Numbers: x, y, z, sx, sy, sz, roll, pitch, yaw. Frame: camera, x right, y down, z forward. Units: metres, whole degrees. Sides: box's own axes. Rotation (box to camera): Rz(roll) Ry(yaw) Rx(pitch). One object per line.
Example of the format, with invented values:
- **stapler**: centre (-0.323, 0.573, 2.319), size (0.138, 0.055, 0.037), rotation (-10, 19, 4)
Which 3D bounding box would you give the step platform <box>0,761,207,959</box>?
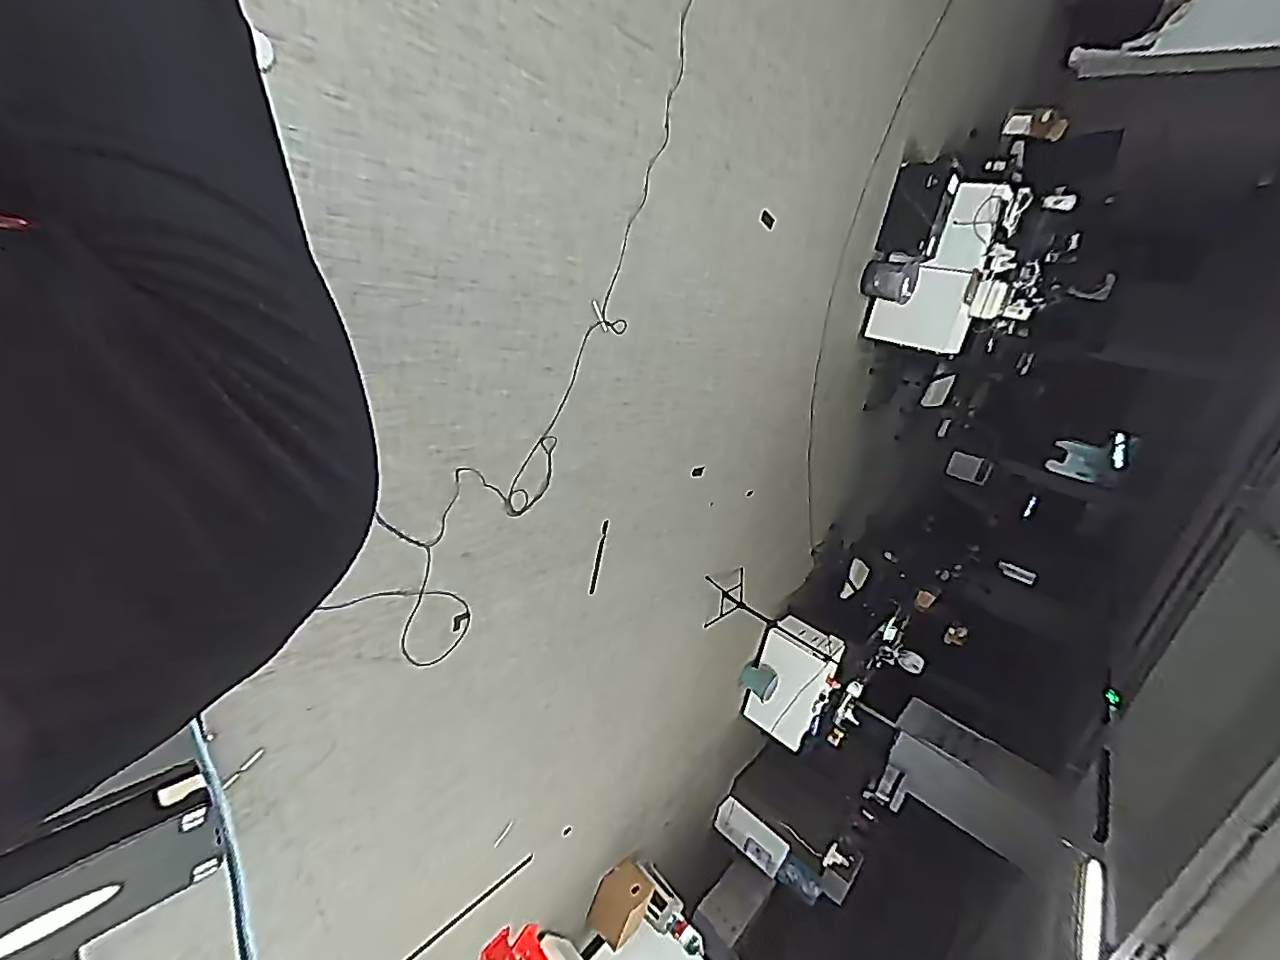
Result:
- **step platform**: centre (-1.424, 0.965, 1.232), size (0.684, 0.204, 0.286), rotation (-14, 122, -46)
